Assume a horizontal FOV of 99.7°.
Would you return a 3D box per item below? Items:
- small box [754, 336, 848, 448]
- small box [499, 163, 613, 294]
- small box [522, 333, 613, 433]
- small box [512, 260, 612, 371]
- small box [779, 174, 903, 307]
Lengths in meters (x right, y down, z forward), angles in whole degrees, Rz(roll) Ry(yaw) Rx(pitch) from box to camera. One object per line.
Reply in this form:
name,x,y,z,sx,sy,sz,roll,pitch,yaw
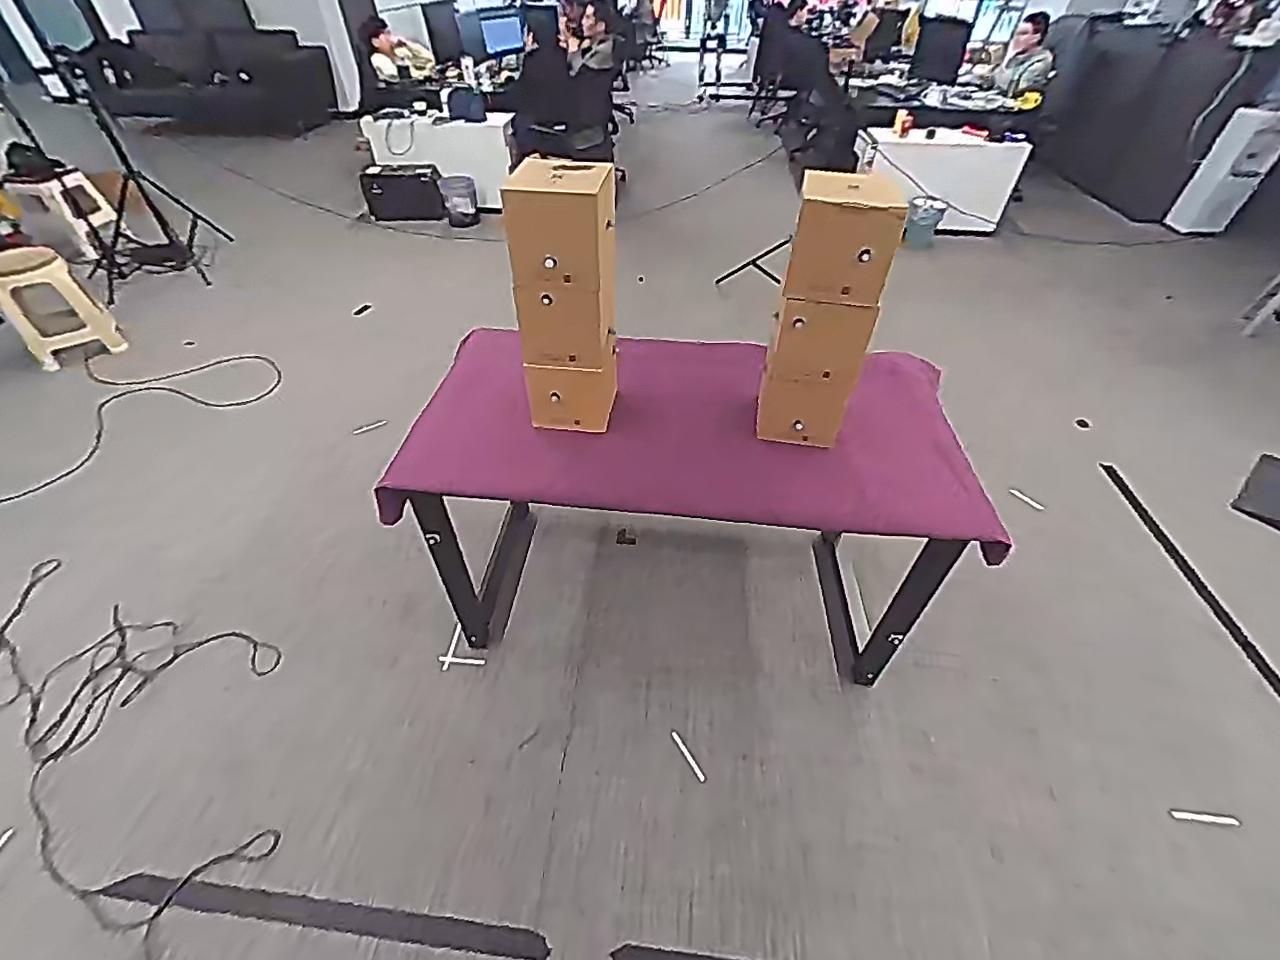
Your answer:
small box,0.349,-0.196,1.197,0.168,0.176,0.179,8,44,8
small box,-0.144,-0.462,0.991,0.168,0.176,0.179,5,44,4
small box,-0.153,-0.222,1.217,0.168,0.176,0.179,5,44,4
small box,-0.150,-0.345,1.107,0.168,0.176,0.179,4,43,4
small box,0.349,-0.427,0.966,0.168,0.176,0.179,10,43,8
